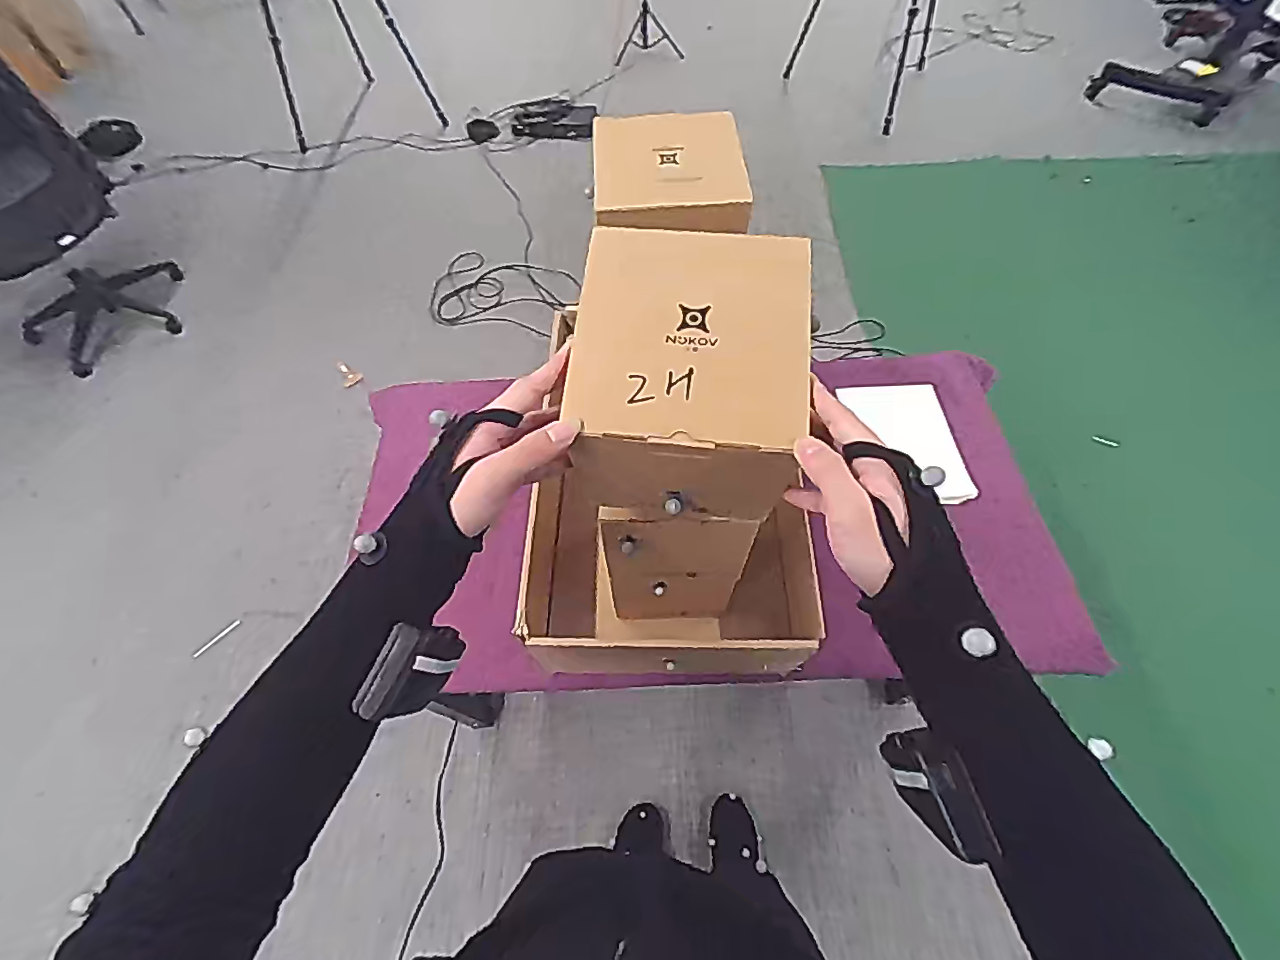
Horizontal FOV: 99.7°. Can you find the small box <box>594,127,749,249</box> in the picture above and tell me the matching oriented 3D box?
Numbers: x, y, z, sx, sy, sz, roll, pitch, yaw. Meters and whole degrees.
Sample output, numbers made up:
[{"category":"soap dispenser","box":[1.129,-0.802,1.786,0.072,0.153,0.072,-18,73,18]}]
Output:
[{"category":"small box","box":[0.031,-0.304,0.672,0.168,0.176,0.179,-2,60,0]}]

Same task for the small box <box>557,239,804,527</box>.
[{"category":"small box","box":[0.037,-0.072,0.463,0.168,0.176,0.179,5,69,5]}]
